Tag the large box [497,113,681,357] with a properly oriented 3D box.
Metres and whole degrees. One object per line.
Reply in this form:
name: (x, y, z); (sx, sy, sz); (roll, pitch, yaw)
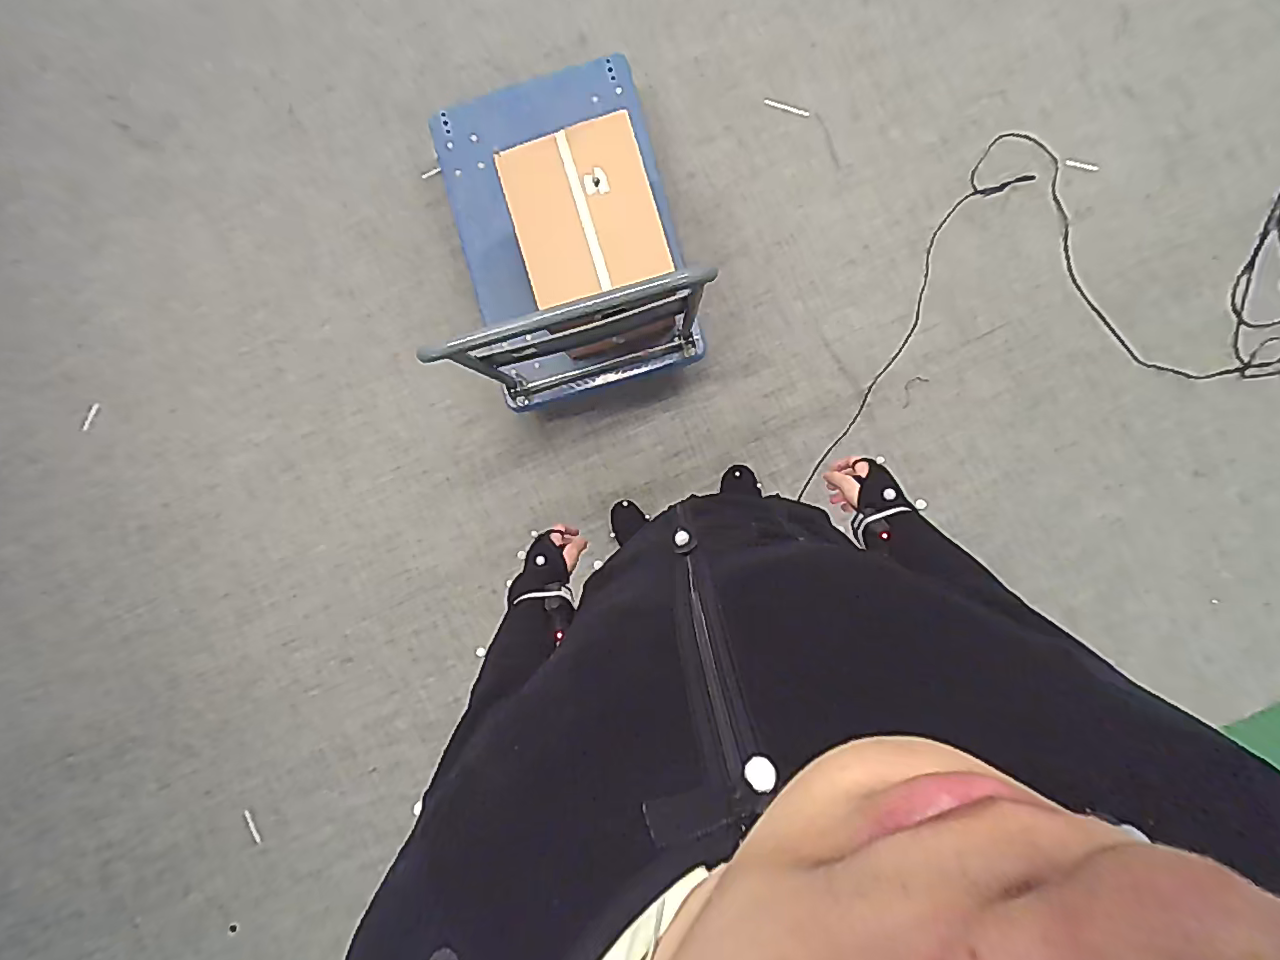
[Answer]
large box: (-0.104, -0.566, 1.328); (0.320, 0.320, 0.408); (-17, 89, 2)
